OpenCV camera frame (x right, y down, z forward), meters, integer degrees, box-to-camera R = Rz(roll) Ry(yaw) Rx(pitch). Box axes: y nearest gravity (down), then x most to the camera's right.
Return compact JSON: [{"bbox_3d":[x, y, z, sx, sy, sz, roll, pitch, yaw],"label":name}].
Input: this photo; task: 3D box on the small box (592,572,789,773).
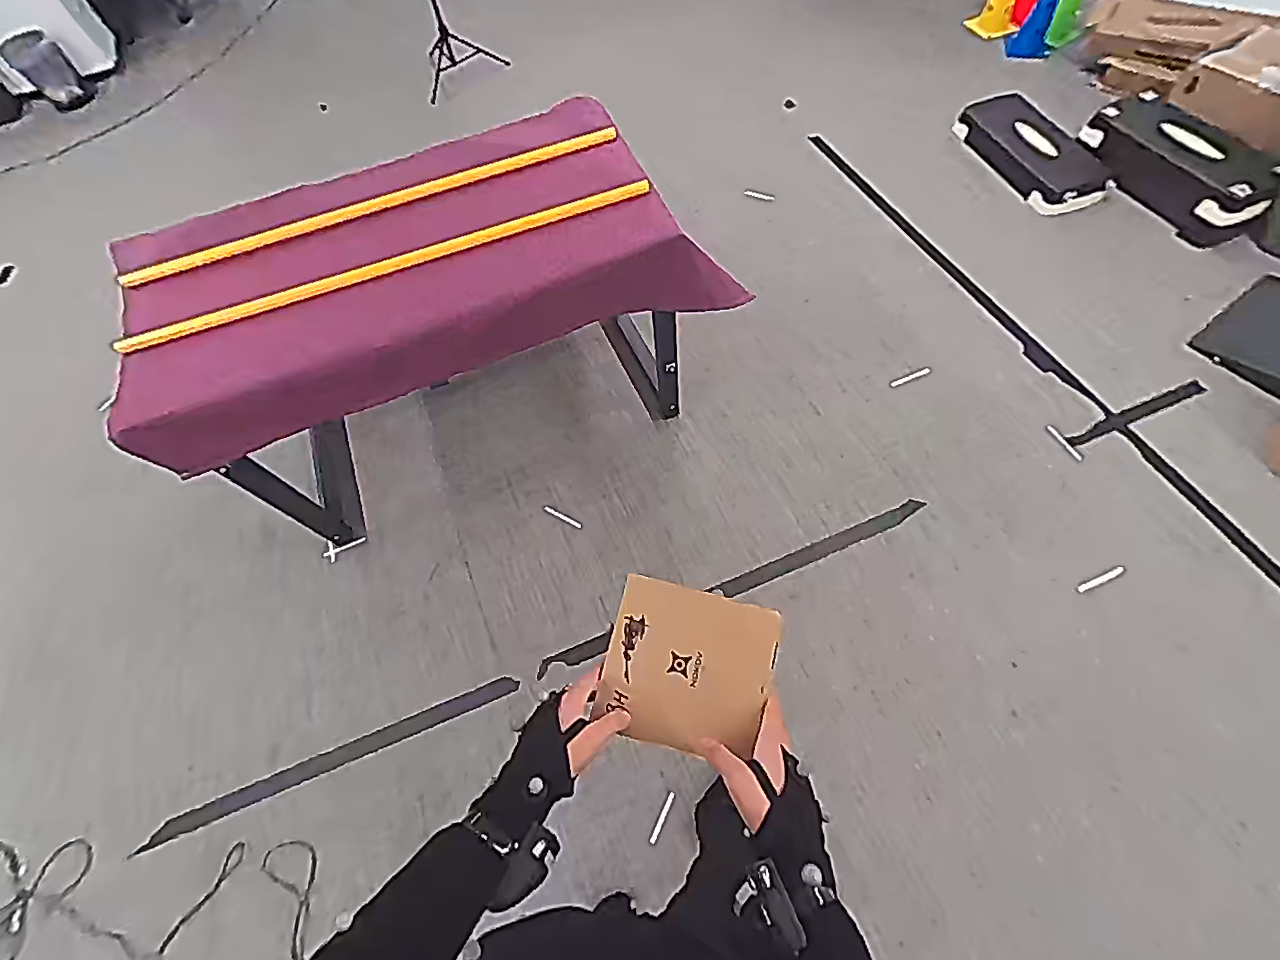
[{"bbox_3d":[0.059,0.218,0.644,0.179,0.176,0.168,14,75,8],"label":"small box"}]
